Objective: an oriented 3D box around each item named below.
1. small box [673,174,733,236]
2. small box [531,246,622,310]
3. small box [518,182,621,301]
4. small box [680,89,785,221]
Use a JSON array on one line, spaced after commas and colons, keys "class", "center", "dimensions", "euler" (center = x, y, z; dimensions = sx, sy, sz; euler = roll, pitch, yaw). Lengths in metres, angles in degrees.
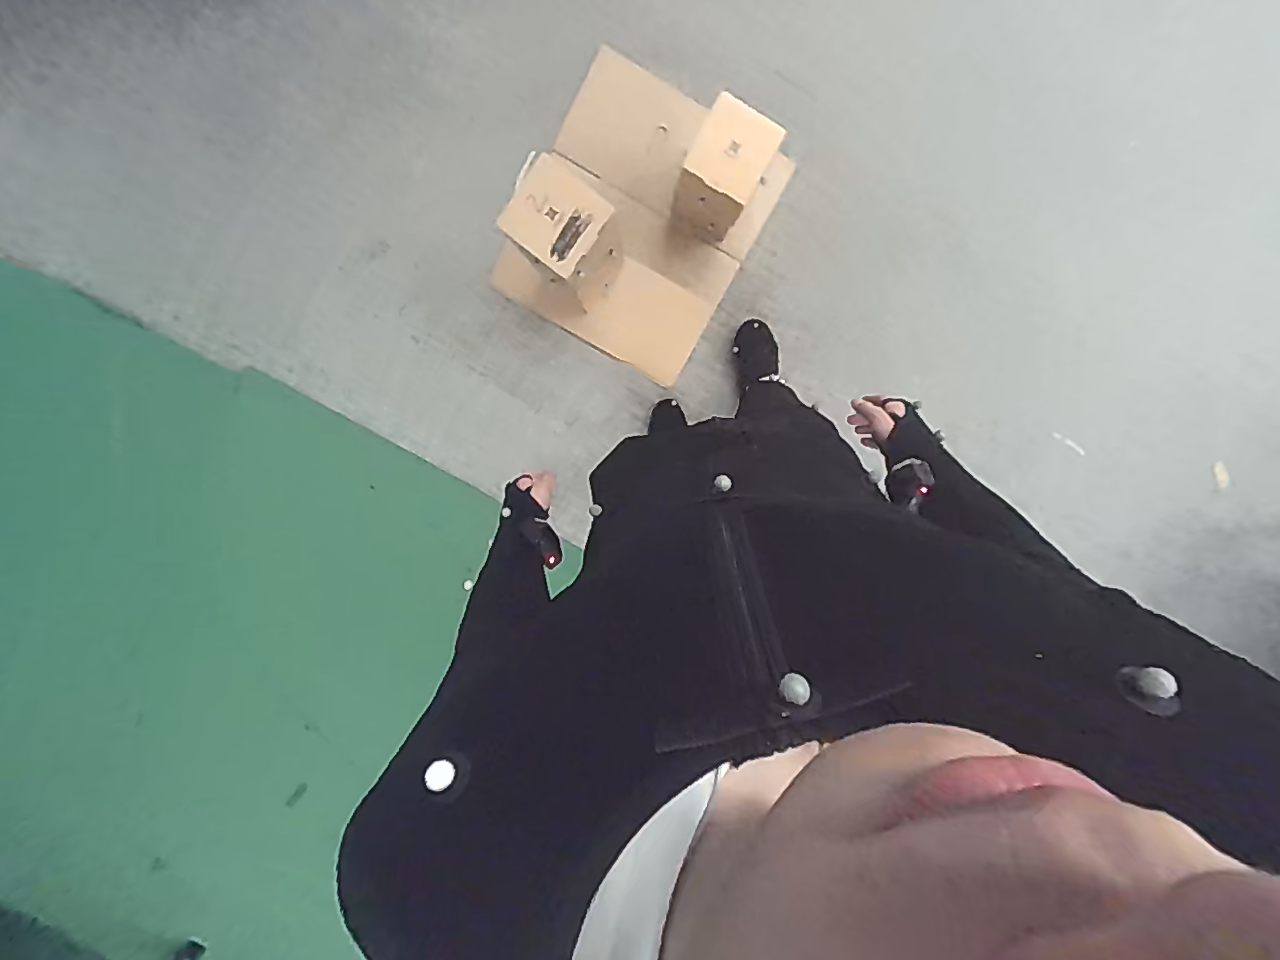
[{"class": "small box", "center": [0.198, -0.766, 1.401], "dimensions": [0.168, 0.176, 0.179], "euler": [30, 100, -4]}, {"class": "small box", "center": [-0.161, -0.581, 1.440], "dimensions": [0.168, 0.176, 0.179], "euler": [37, 99, -5]}, {"class": "small box", "center": [-0.157, -0.551, 1.277], "dimensions": [0.168, 0.176, 0.179], "euler": [37, 99, -5]}, {"class": "small box", "center": [0.200, -0.733, 1.243], "dimensions": [0.168, 0.176, 0.179], "euler": [29, 101, -5]}]
